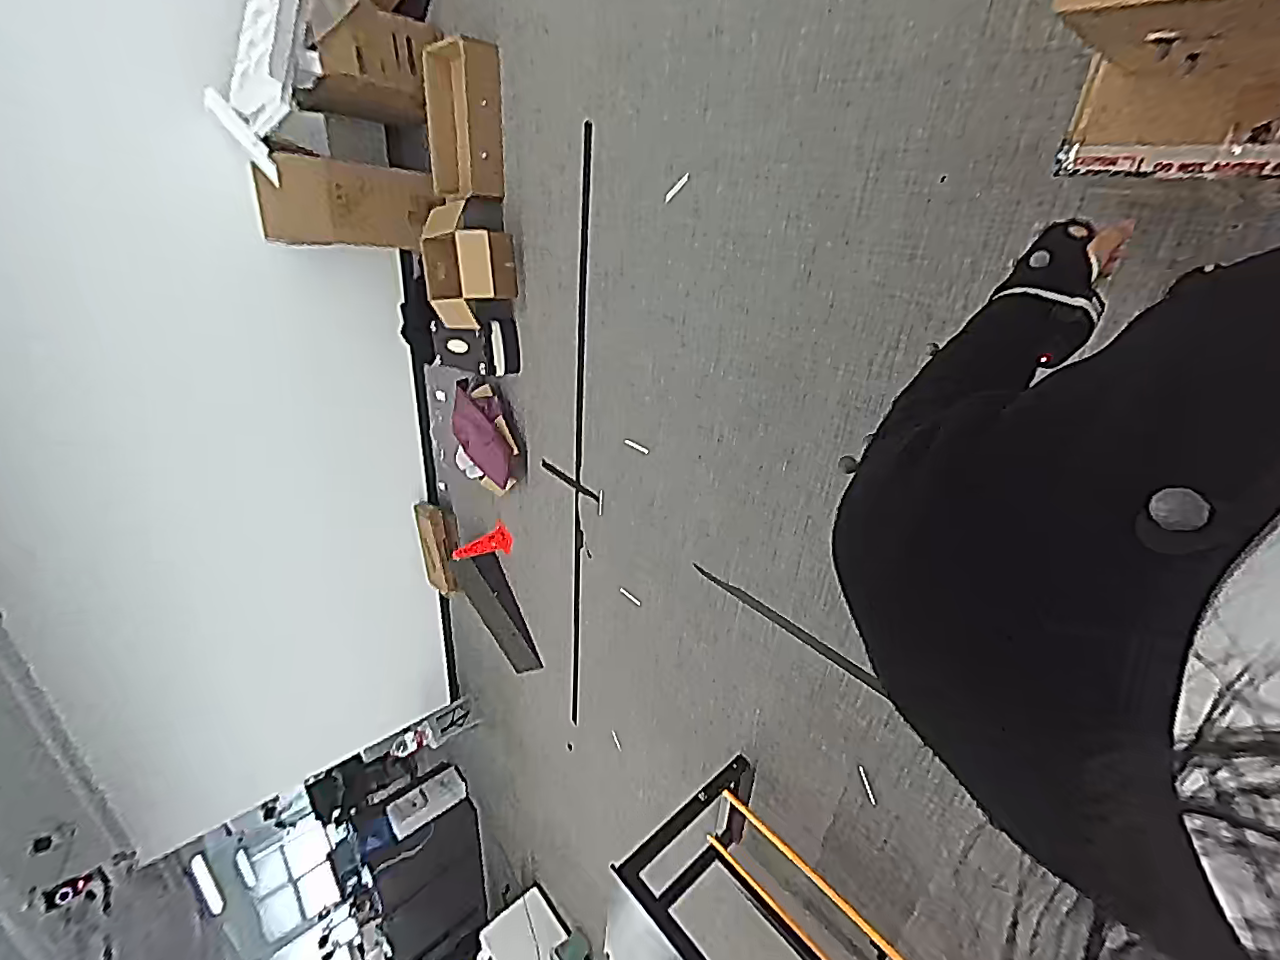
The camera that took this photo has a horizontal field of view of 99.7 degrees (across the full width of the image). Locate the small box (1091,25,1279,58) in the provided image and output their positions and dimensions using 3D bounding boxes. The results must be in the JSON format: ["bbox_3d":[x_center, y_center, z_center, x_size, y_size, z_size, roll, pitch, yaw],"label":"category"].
[{"bbox_3d":[0.619,-0.551,0.551,0.168,0.176,0.179,34,131,40],"label":"small box"}]

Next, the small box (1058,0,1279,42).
[{"bbox_3d":[0.500,-0.498,0.450,0.168,0.176,0.179,35,131,41],"label":"small box"}]
